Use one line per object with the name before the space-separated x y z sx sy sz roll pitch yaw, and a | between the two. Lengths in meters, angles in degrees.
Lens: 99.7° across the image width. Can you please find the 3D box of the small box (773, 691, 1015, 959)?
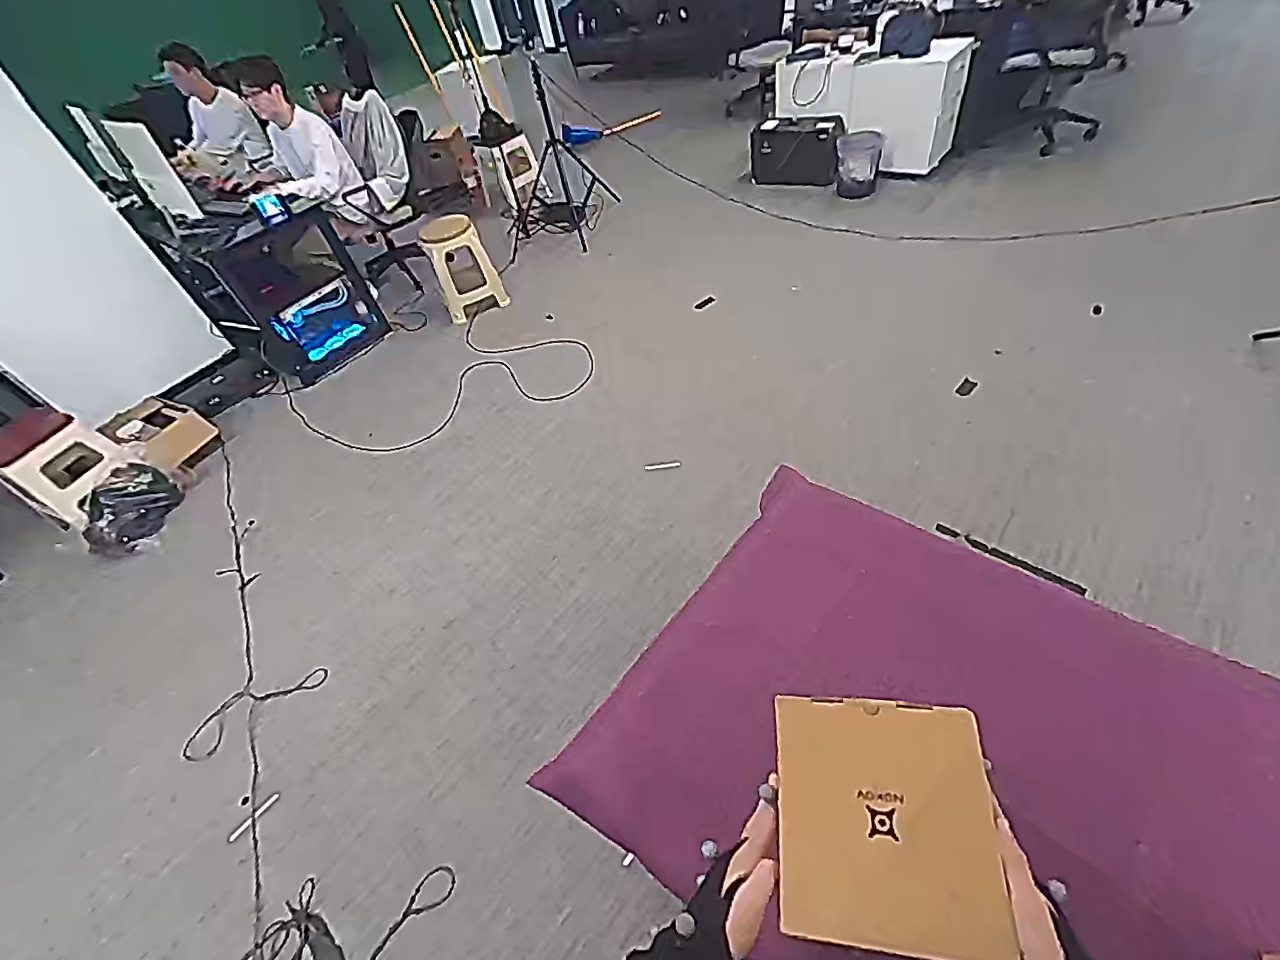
small box | 0.212 0.310 0.503 0.168 0.176 0.179 -1 57 14
